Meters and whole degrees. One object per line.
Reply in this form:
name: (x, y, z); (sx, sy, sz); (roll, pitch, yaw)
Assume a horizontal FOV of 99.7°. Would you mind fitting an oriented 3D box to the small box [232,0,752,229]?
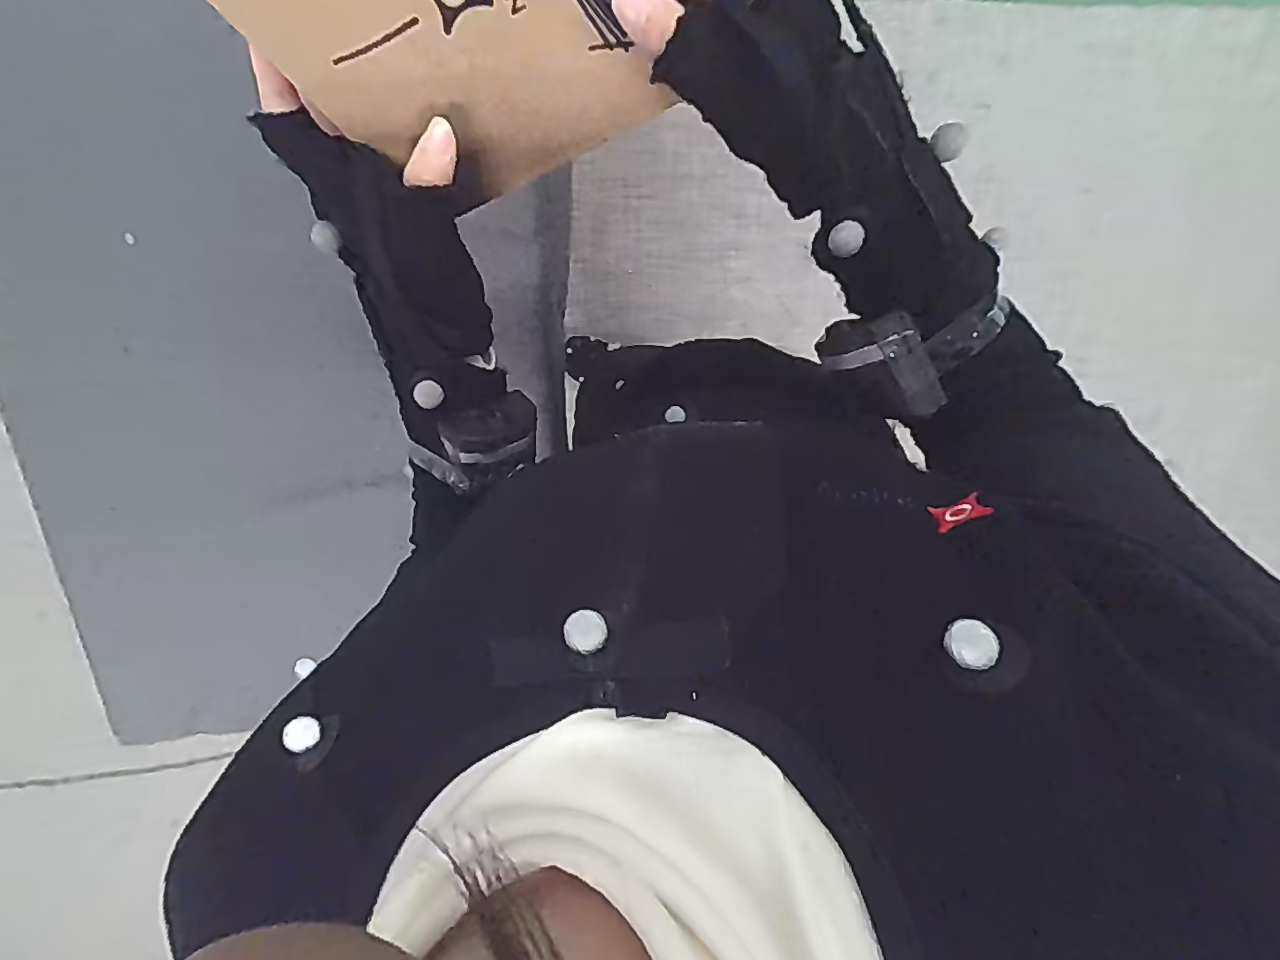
small box: (-0.066, -0.259, 0.234); (0.179, 0.168, 0.176); (-15, 68, 17)
